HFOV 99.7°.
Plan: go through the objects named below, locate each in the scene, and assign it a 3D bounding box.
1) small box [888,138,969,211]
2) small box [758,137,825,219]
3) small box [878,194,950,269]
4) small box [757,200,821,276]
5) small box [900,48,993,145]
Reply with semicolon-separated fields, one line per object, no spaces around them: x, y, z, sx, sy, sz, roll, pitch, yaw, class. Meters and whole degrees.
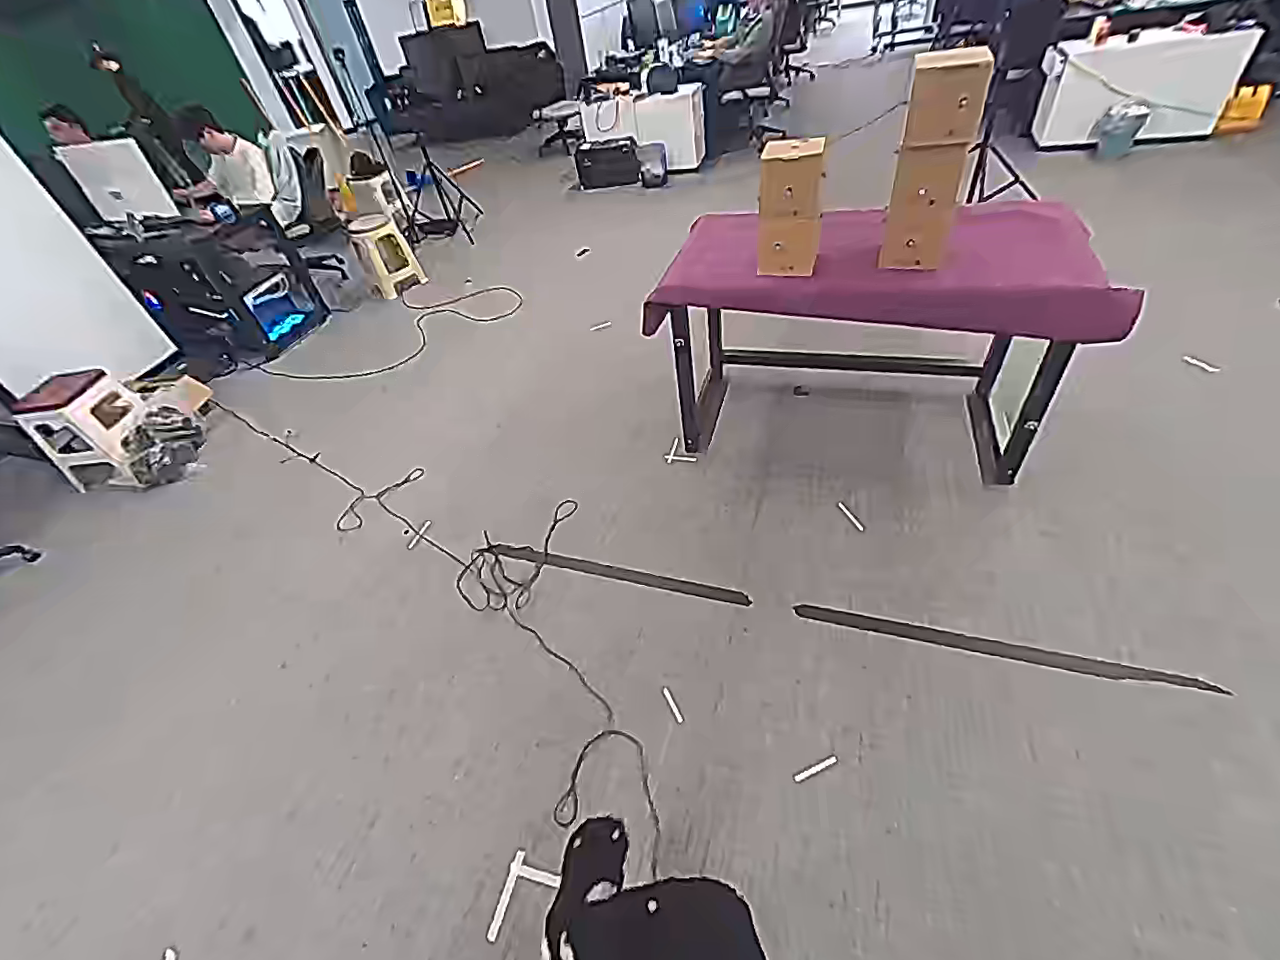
0.788;-0.857;1.485;0.168;0.176;0.179;9;48;20;small box
0.439;-0.870;1.570;0.168;0.176;0.179;7;46;17;small box
0.807;-0.739;1.598;0.168;0.176;0.179;10;48;20;small box
0.461;-0.749;1.678;0.168;0.176;0.179;8;46;19;small box
0.761;-0.956;1.357;0.168;0.176;0.179;7;47;17;small box
